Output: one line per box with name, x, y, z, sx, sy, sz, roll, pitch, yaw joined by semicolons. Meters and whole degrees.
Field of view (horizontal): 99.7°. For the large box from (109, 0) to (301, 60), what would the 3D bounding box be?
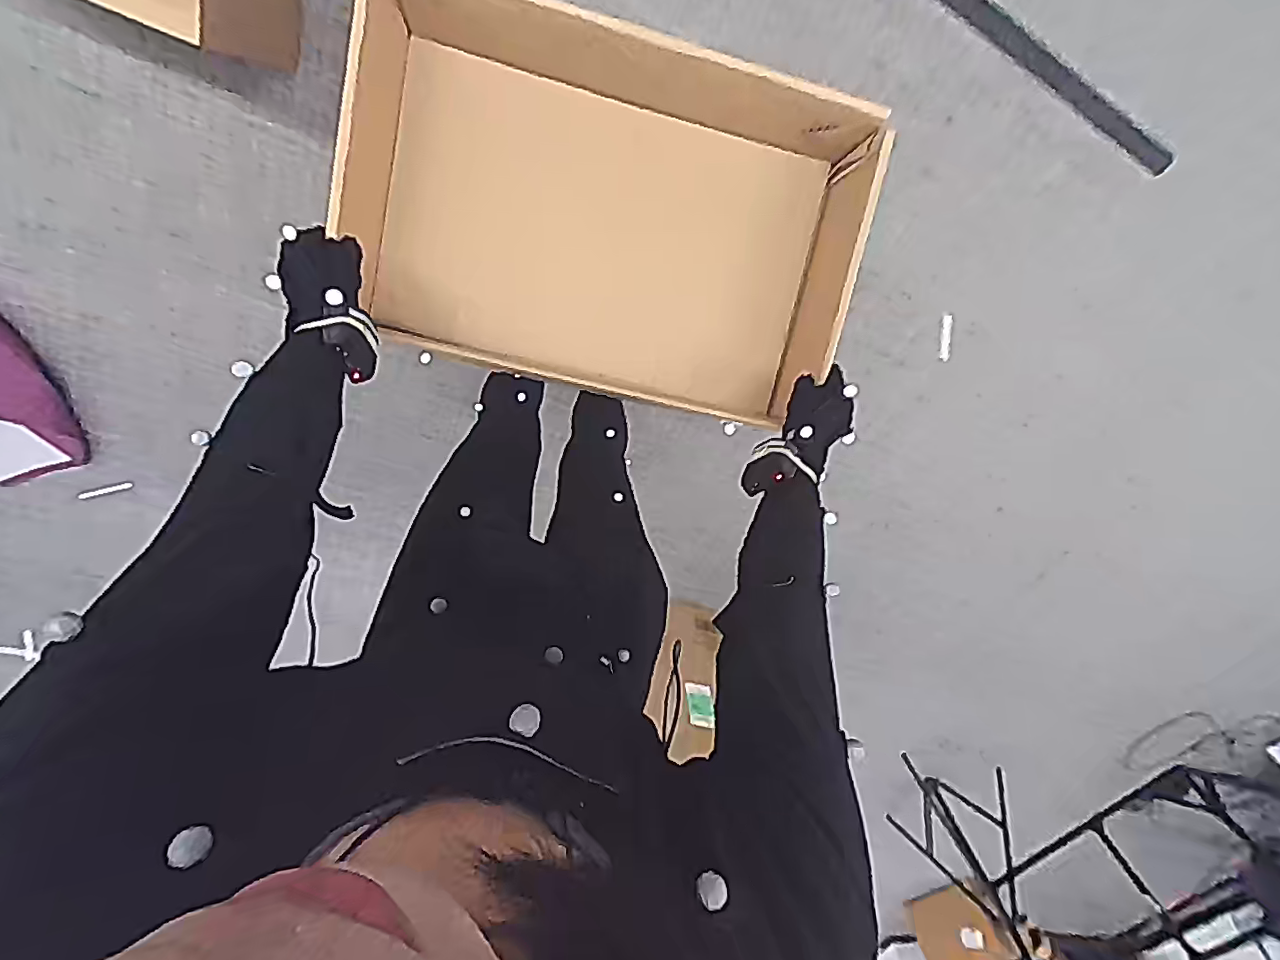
large box;-0.729;-0.843;0.723;0.408;0.320;0.320;14;120;-17
